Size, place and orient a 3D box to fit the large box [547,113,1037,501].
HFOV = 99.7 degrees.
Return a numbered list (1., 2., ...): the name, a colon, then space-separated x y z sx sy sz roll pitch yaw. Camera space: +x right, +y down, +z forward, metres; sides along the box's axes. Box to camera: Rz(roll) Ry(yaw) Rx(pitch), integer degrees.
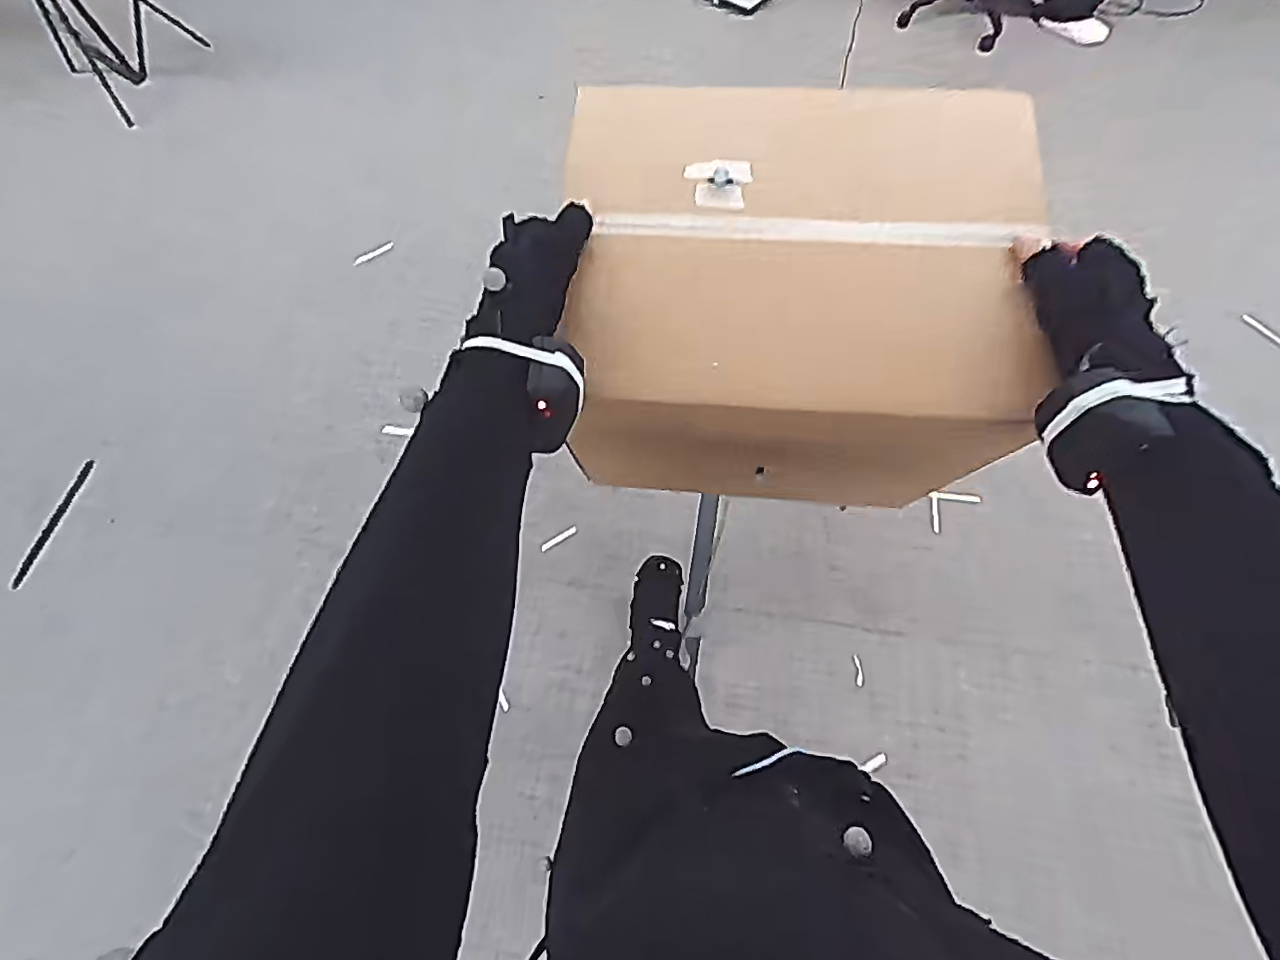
1. large box: 0.143 -0.165 0.623 0.408 0.320 0.320 4 74 6
